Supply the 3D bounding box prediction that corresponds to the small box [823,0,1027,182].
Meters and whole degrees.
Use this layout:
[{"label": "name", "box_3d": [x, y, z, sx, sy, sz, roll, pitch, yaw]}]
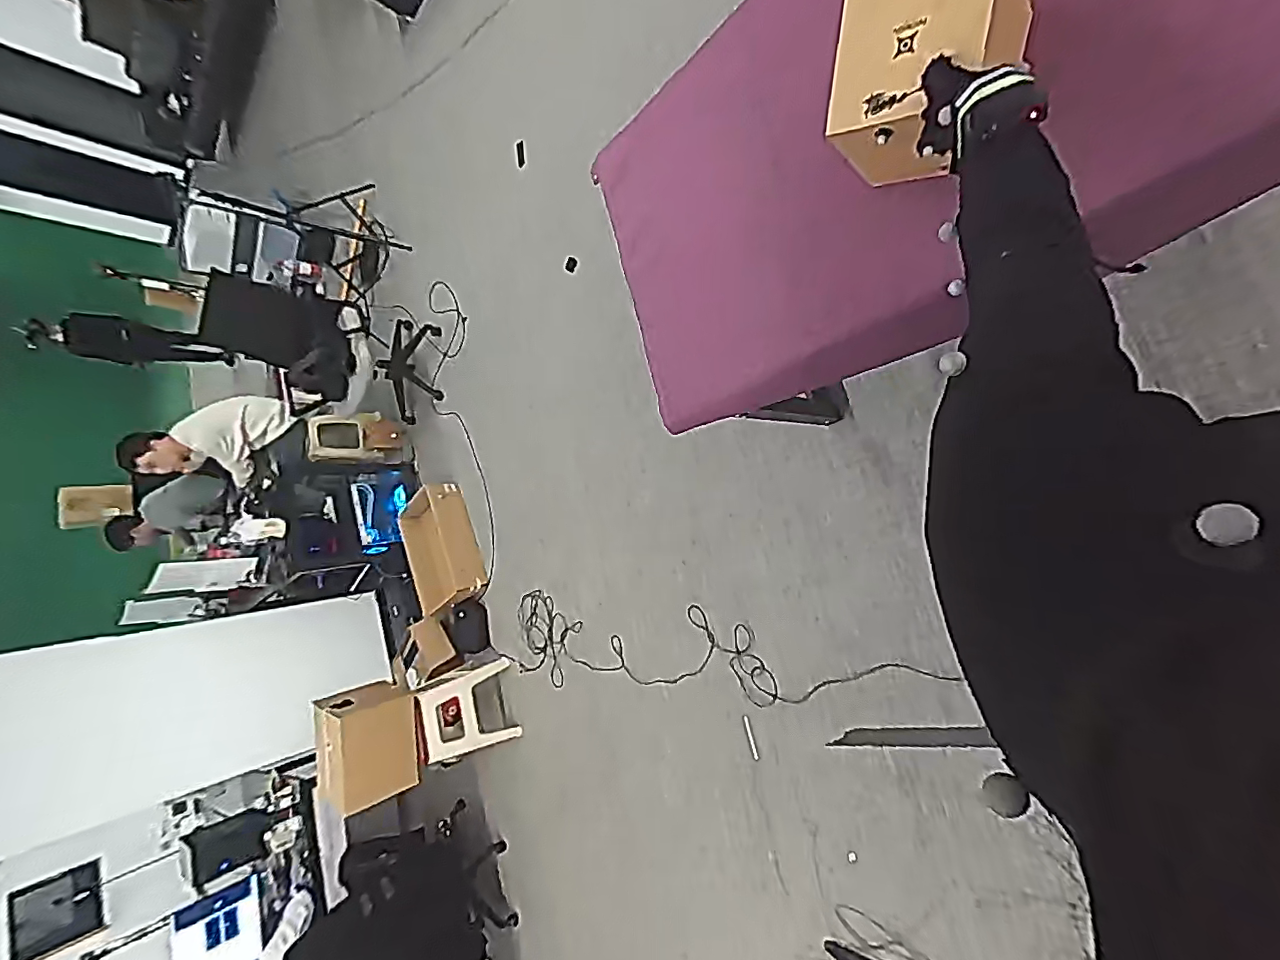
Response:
[{"label": "small box", "box_3d": [0.346, -0.494, 0.651, 0.168, 0.176, 0.179, 14, 101, 41]}]
